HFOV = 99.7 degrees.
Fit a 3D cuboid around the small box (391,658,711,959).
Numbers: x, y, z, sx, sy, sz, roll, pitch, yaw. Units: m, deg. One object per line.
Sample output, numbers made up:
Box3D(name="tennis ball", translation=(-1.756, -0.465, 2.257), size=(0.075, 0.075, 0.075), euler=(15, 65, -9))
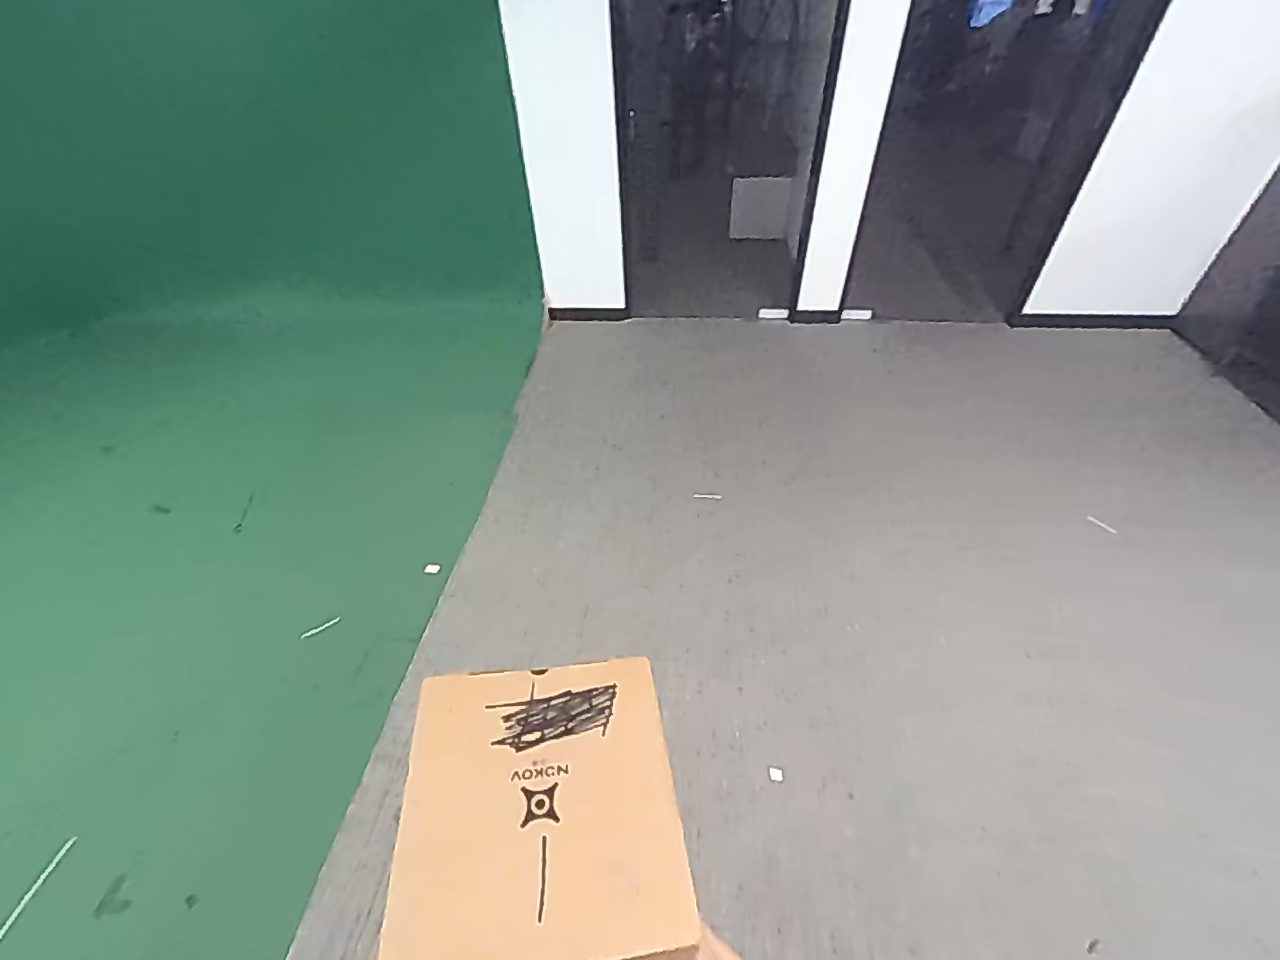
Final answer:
Box3D(name="small box", translation=(-0.061, 0.255, 0.386), size=(0.168, 0.176, 0.179), euler=(-2, 39, -10))
